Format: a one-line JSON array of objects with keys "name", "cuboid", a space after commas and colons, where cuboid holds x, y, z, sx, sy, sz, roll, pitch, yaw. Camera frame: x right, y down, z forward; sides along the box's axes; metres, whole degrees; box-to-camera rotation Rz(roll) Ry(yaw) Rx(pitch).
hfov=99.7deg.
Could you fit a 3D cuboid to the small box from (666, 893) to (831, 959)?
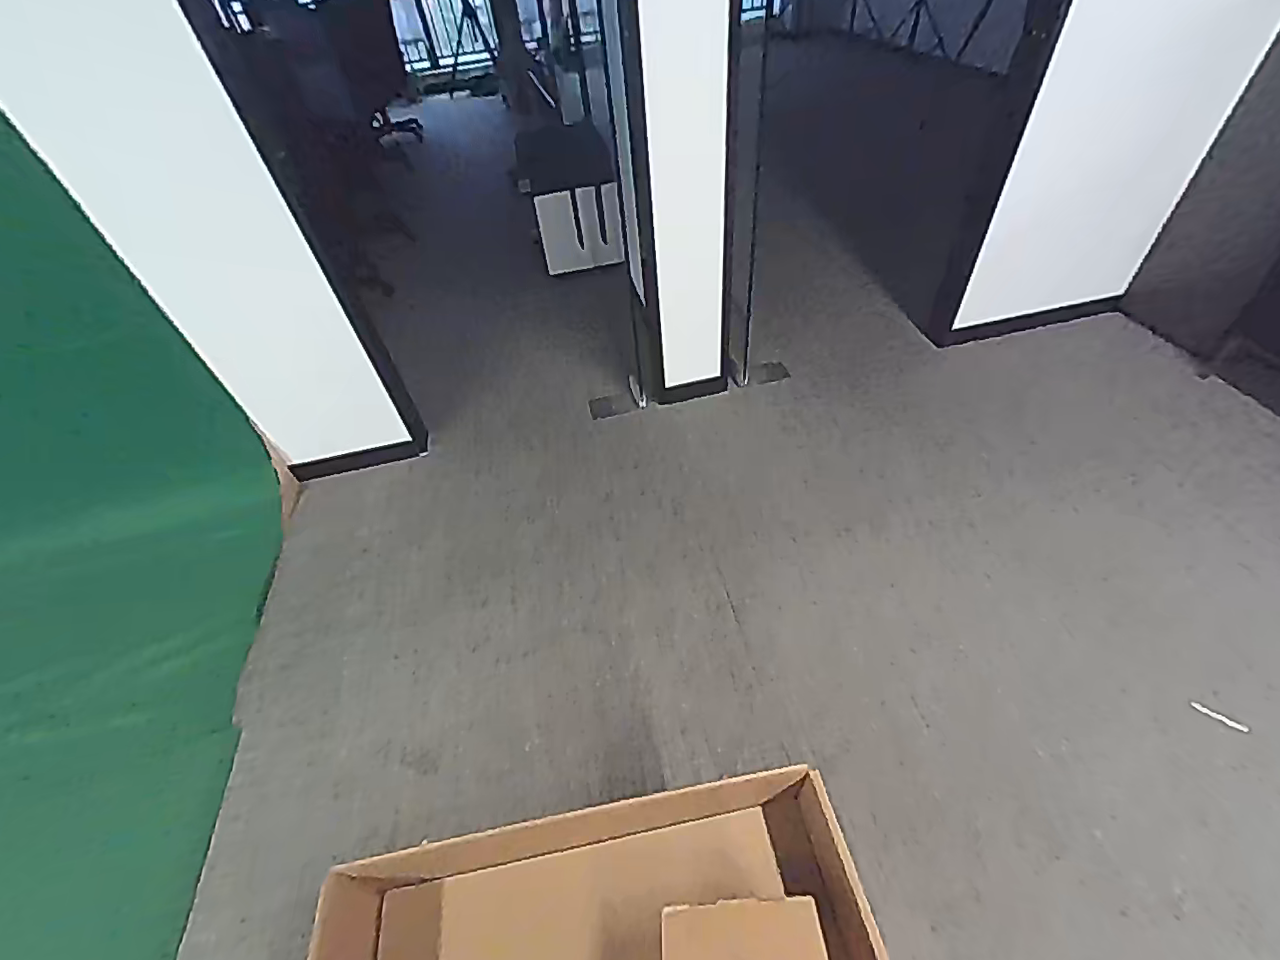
[{"name": "small box", "cuboid": [0.115, 0.560, 0.545, 0.168, 0.176, 0.179, -6, 28, 4]}]
